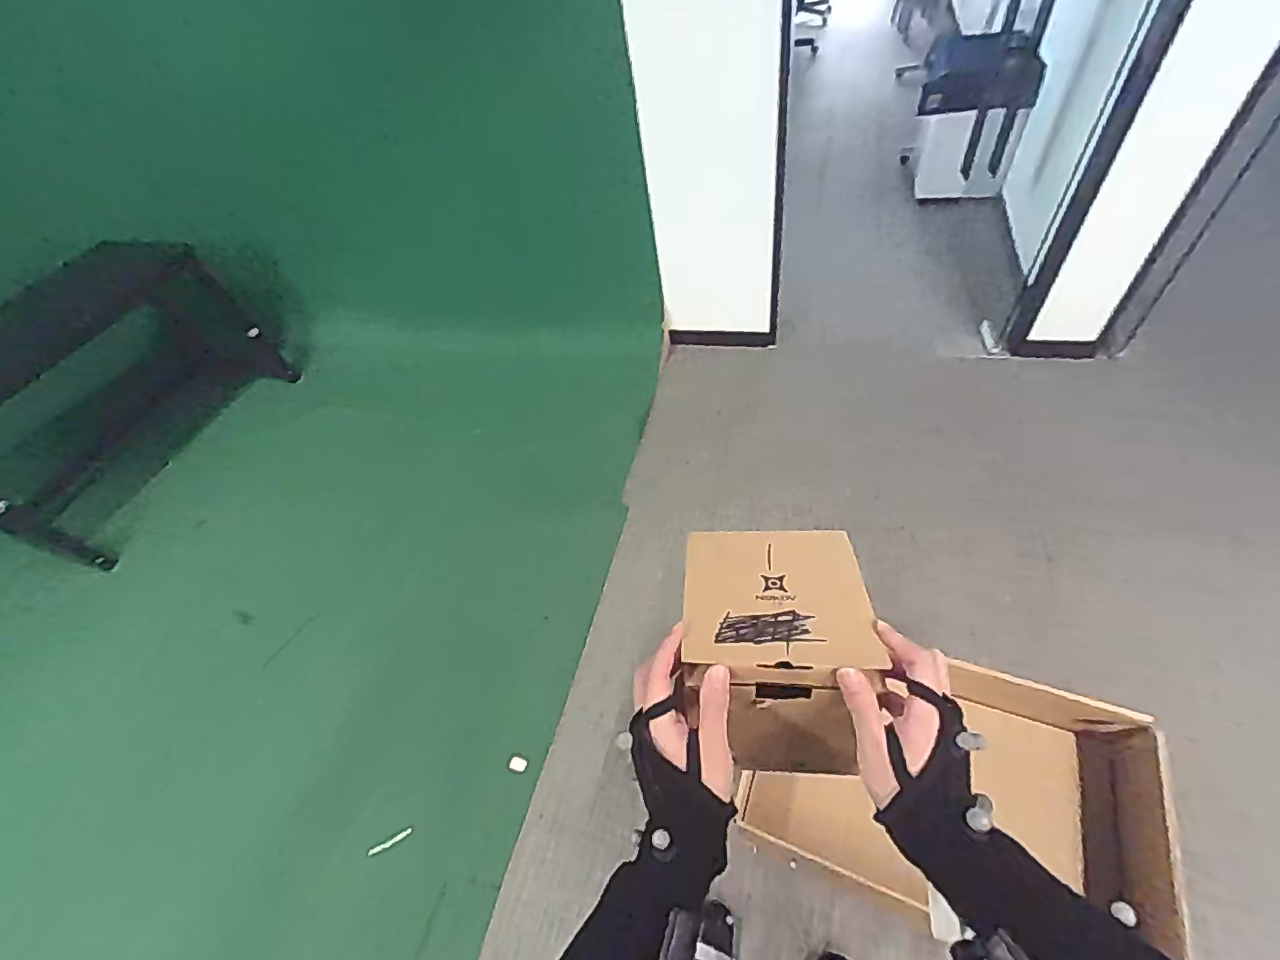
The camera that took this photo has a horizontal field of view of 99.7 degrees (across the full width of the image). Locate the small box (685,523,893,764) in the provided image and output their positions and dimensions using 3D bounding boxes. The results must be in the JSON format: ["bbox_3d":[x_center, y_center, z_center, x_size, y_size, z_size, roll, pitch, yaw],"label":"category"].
[{"bbox_3d":[0.135,0.163,0.544,0.168,0.176,0.179,-1,40,8],"label":"small box"}]
